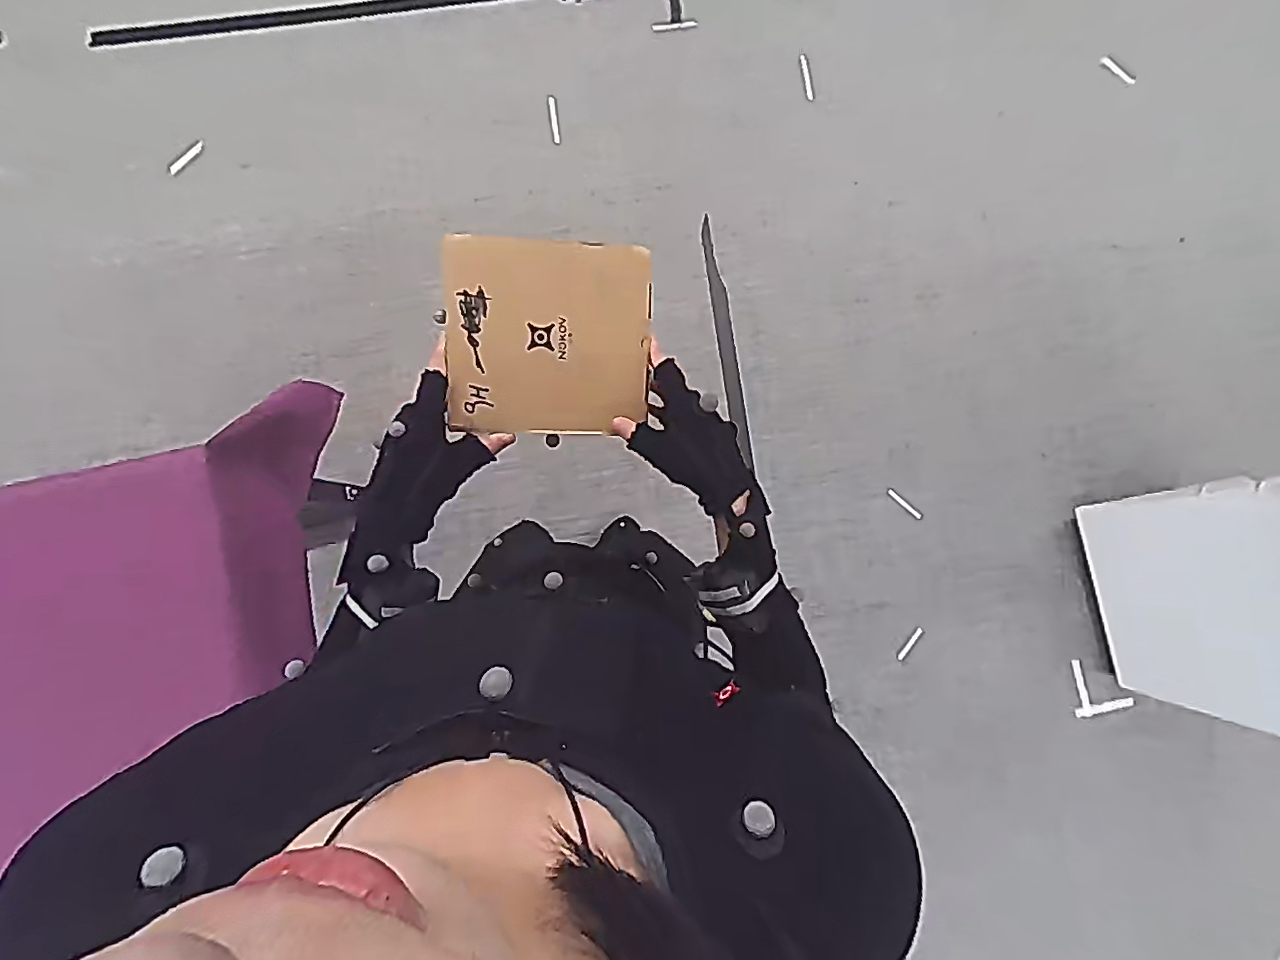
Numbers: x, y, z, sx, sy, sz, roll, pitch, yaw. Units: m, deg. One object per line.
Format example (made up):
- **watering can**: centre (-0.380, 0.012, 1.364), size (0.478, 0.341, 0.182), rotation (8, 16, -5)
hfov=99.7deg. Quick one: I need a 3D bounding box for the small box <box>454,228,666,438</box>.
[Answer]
- **small box**: centre (-0.080, -0.130, 0.541), size (0.179, 0.176, 0.168), rotation (2, 95, -9)
